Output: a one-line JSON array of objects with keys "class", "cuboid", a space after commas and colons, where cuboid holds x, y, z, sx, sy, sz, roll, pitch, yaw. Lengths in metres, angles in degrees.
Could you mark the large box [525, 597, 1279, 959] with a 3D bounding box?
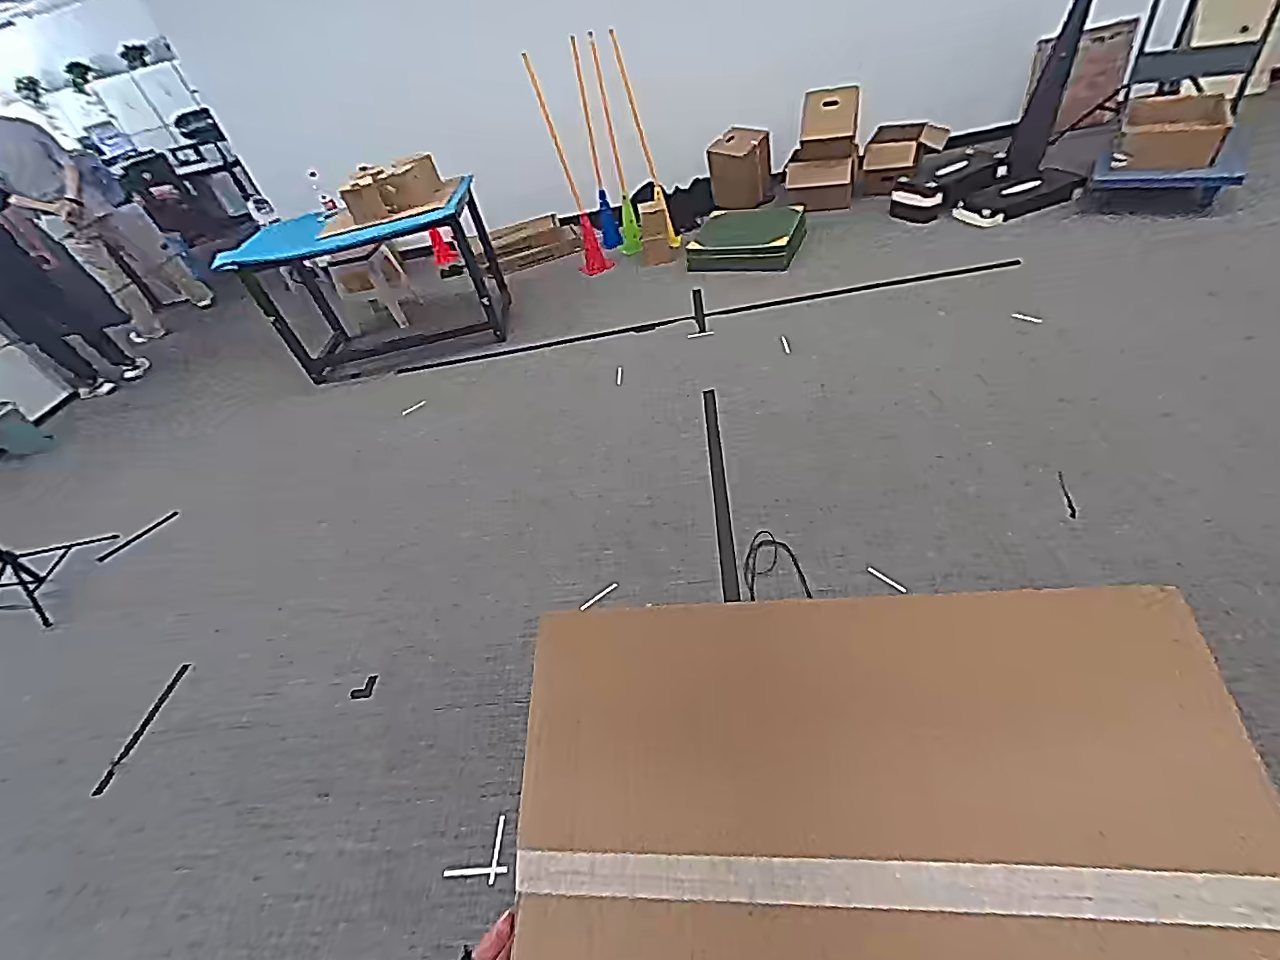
[{"class": "large box", "cuboid": [0.156, 0.294, 0.430, 0.408, 0.320, 0.320, -5, 63, 11]}]
